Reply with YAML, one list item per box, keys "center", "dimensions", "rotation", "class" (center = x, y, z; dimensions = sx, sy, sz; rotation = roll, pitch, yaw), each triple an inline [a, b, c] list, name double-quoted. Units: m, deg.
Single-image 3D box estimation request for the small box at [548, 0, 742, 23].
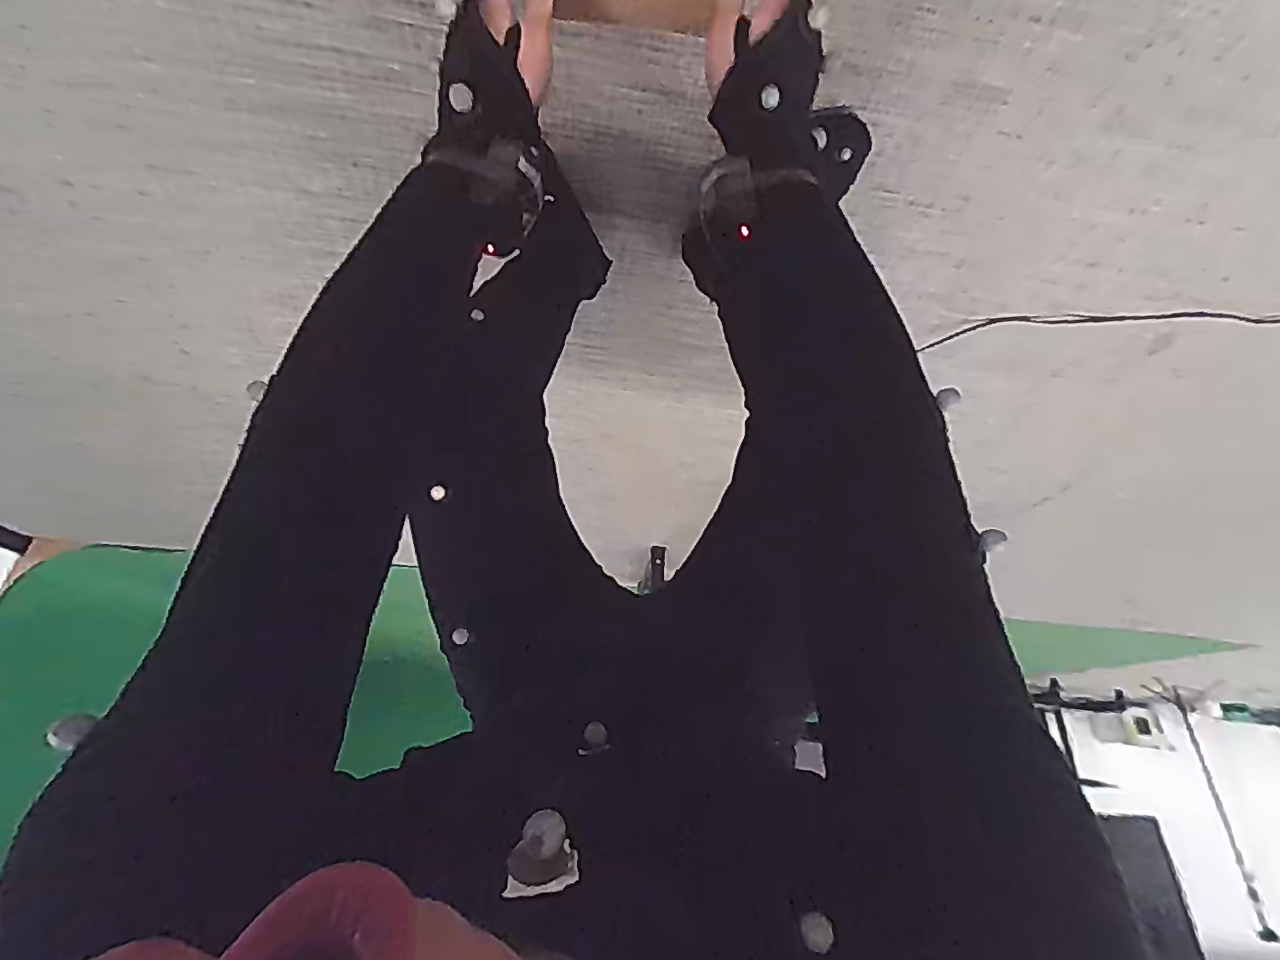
- center: [0.011, -0.500, 0.408]
  dimensions: [0.168, 0.176, 0.179]
  rotation: [5, 156, -1]
  class: "small box"
